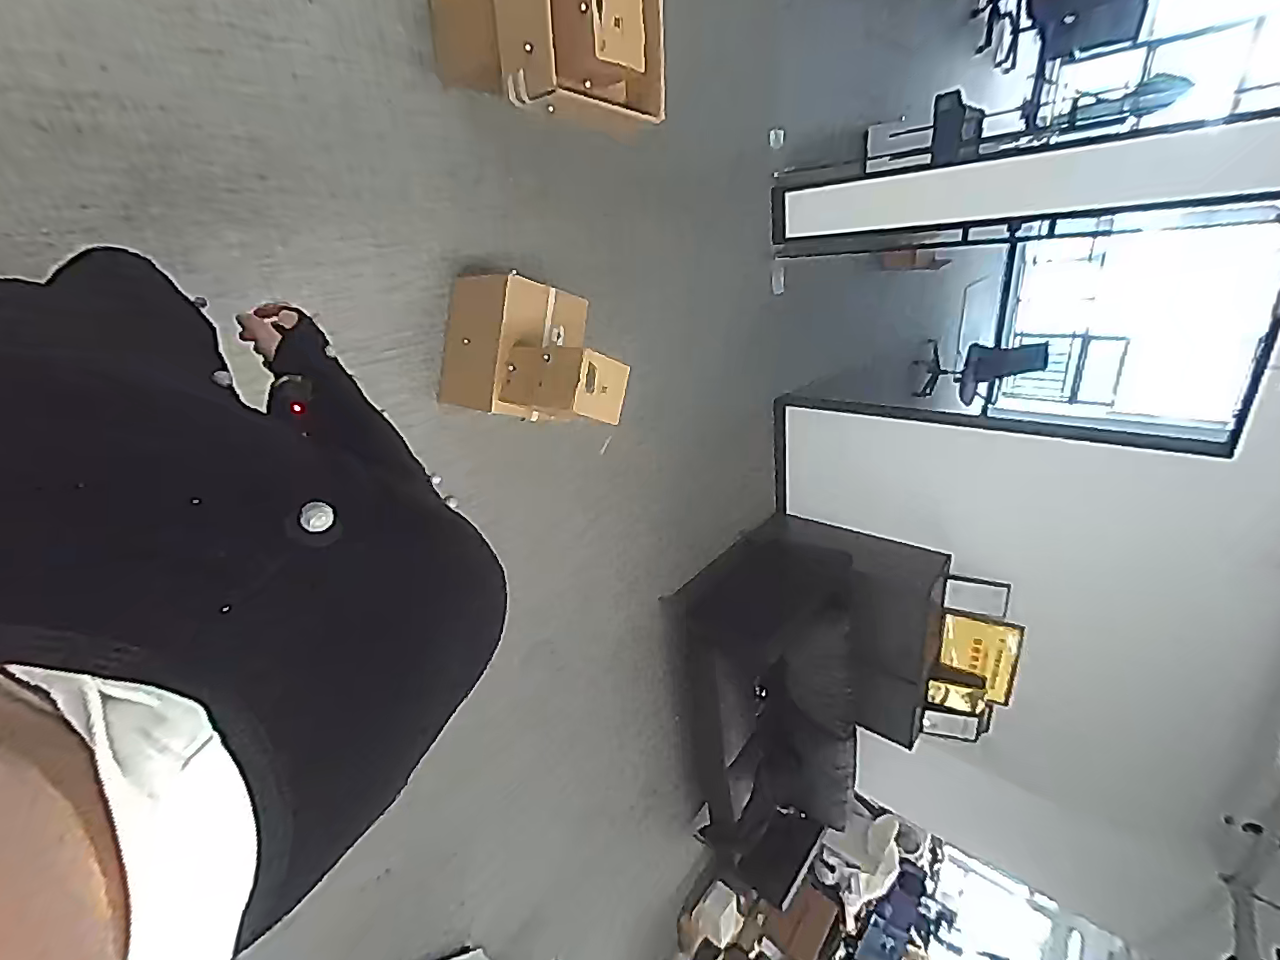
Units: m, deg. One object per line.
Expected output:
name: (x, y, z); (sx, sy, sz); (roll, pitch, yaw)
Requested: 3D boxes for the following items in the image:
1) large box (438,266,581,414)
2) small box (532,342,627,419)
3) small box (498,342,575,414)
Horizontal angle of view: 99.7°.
large box: (-0.426, -0.437, 1.751); (0.320, 0.320, 0.408); (0, 101, -51)
small box: (-0.166, -0.270, 1.467); (0.179, 0.176, 0.168); (11, 93, -50)
small box: (-0.284, -0.299, 1.577); (0.179, 0.176, 0.168); (10, 93, -49)
